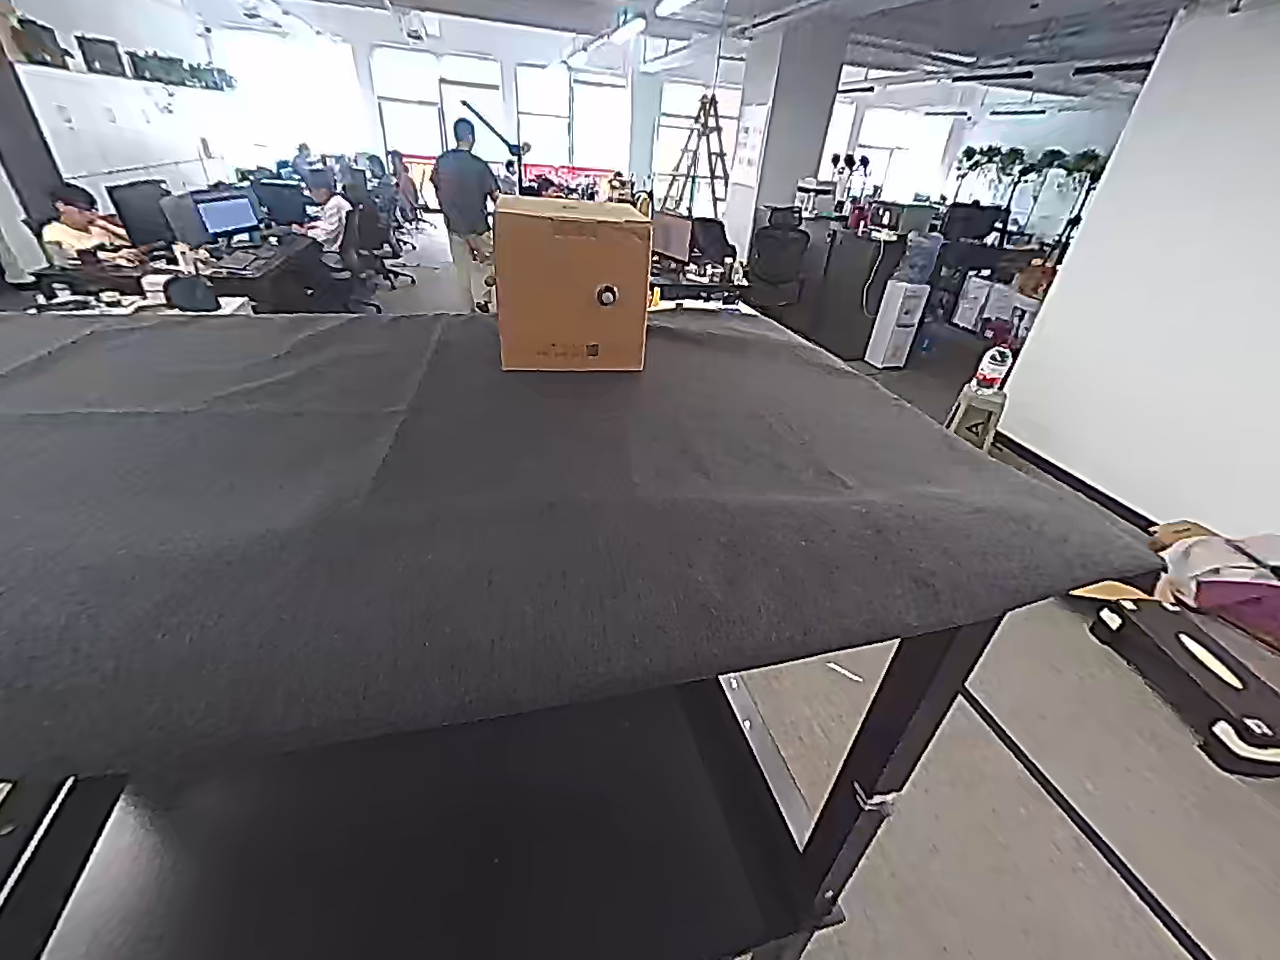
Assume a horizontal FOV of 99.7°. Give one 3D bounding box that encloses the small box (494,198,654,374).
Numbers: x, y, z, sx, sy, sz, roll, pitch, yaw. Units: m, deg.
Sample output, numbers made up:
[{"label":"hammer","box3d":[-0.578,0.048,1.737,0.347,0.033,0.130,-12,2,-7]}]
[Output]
[{"label":"small box","box3d":[-0.083,-0.236,0.656,0.168,0.176,0.179,-1,32,-11]}]
